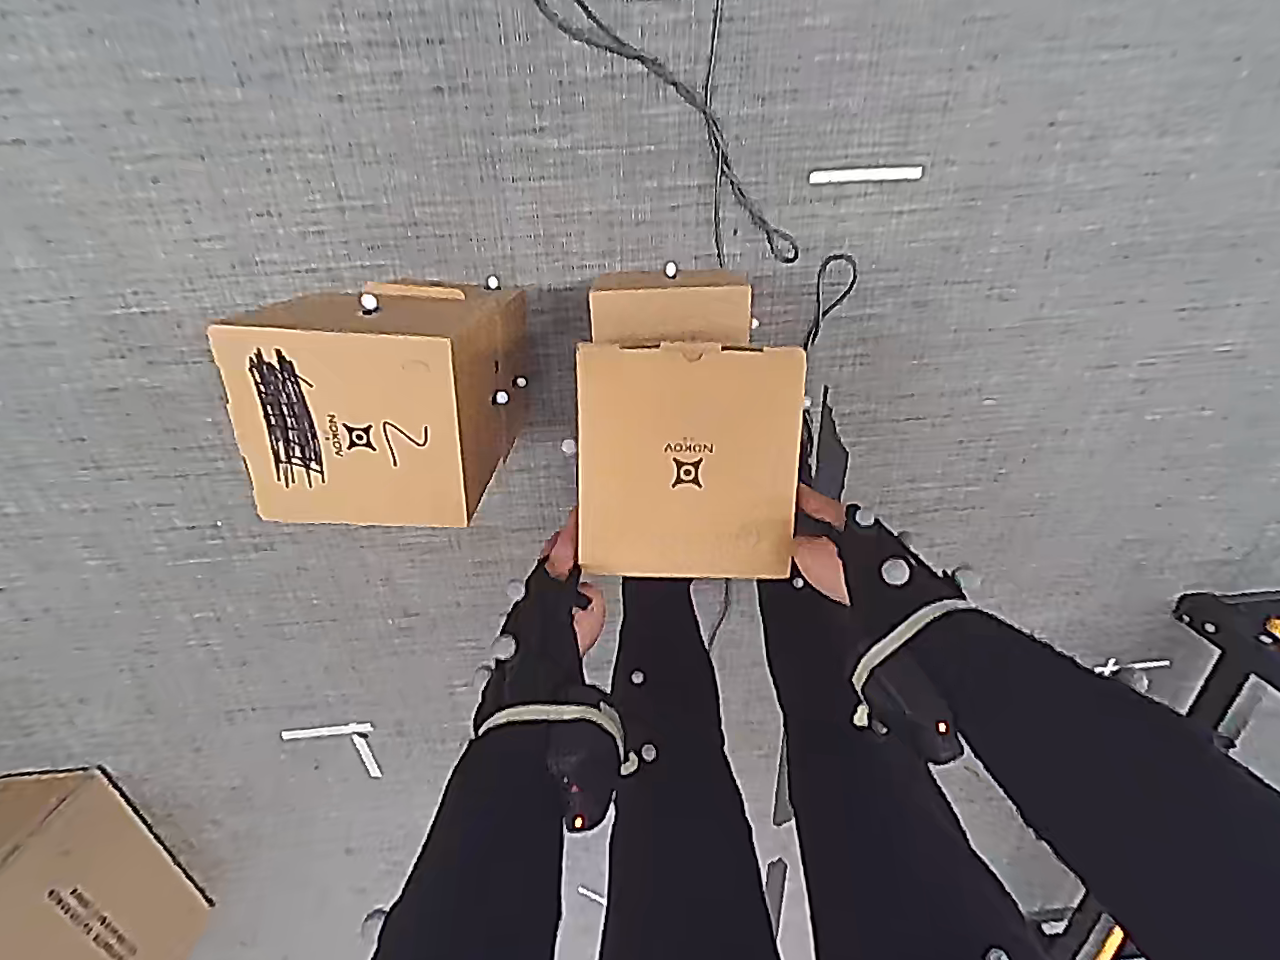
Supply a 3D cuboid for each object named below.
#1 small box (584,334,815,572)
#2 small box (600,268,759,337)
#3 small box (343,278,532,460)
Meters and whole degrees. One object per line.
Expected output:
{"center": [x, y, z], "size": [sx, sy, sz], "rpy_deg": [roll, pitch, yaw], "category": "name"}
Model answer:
{"center": [0.043, -0.031, 0.477], "size": [0.168, 0.176, 0.179], "rpy_deg": [1, 99, 0], "category": "small box"}
{"center": [0.039, -0.158, 0.651], "size": [0.168, 0.176, 0.179], "rpy_deg": [-1, 117, 0], "category": "small box"}
{"center": [-0.225, -0.141, 0.651], "size": [0.168, 0.176, 0.179], "rpy_deg": [3, 117, -3], "category": "small box"}
